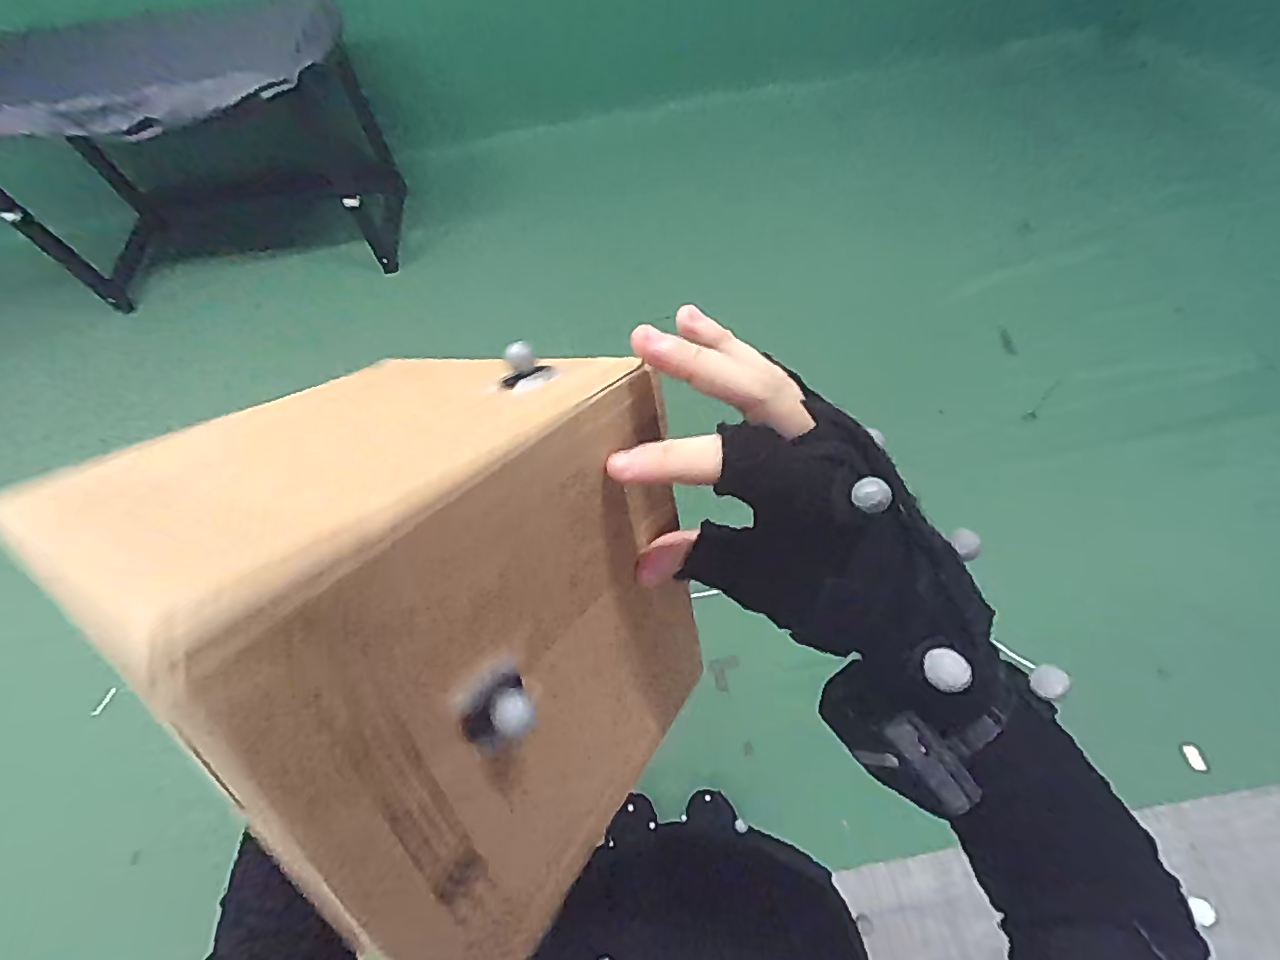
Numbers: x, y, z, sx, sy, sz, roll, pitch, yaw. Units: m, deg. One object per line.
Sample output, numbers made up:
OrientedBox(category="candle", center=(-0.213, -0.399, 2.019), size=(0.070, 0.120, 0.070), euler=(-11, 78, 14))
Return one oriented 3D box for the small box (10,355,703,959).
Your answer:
OrientedBox(category="small box", center=(-0.096, 0.056, 0.232), size=(0.179, 0.168, 0.176), euler=(9, 39, 32))
